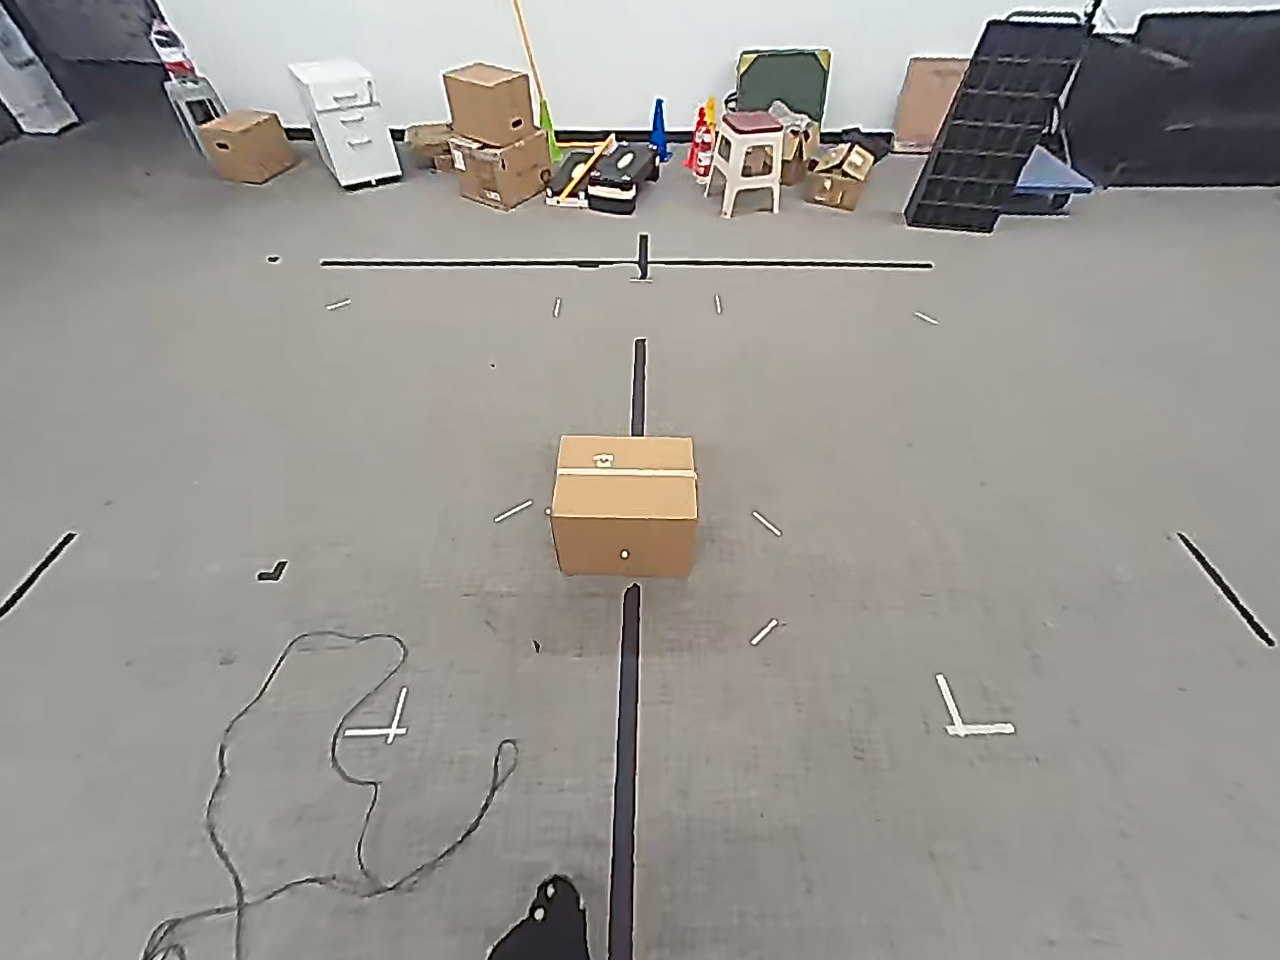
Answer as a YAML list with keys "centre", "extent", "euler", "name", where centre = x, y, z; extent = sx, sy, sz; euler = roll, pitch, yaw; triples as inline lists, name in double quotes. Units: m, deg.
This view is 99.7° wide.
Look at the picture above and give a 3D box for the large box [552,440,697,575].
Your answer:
- centre: [-0.040, 0.088, 1.687]
  extent: [0.408, 0.320, 0.320]
  euler: [1, 49, 1]
  name: "large box"
